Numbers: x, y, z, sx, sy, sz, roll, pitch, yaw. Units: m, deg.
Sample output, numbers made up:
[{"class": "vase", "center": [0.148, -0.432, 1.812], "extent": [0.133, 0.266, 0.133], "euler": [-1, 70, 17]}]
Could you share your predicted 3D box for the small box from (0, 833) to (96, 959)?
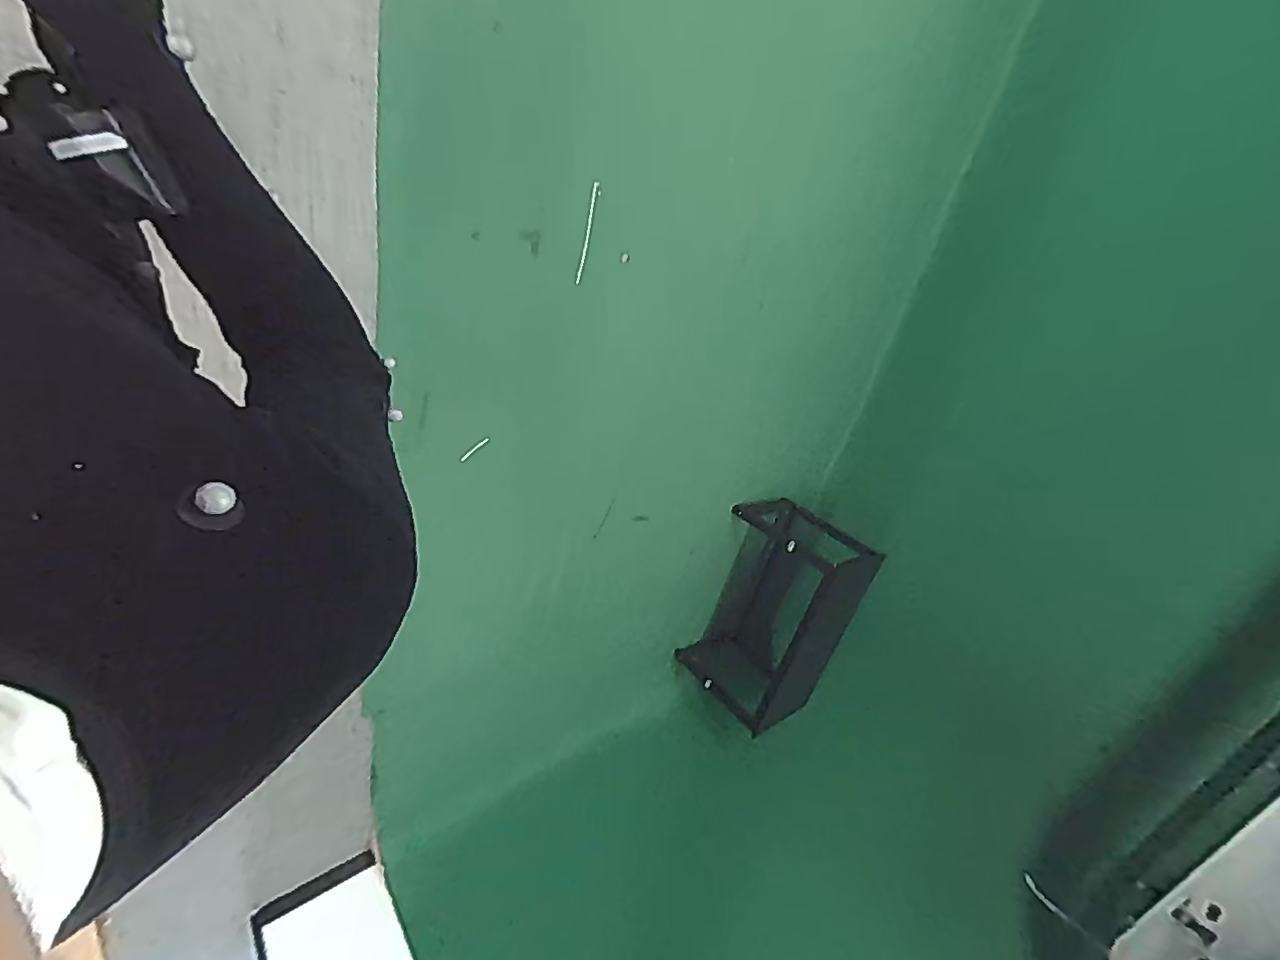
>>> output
[{"class": "small box", "center": [-0.933, 0.681, 0.803], "extent": [0.168, 0.176, 0.179], "euler": [-6, 121, -44]}]

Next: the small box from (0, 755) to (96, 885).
[{"class": "small box", "center": [-1.036, 0.608, 0.906], "extent": [0.168, 0.176, 0.179], "euler": [-7, 122, -43]}]
